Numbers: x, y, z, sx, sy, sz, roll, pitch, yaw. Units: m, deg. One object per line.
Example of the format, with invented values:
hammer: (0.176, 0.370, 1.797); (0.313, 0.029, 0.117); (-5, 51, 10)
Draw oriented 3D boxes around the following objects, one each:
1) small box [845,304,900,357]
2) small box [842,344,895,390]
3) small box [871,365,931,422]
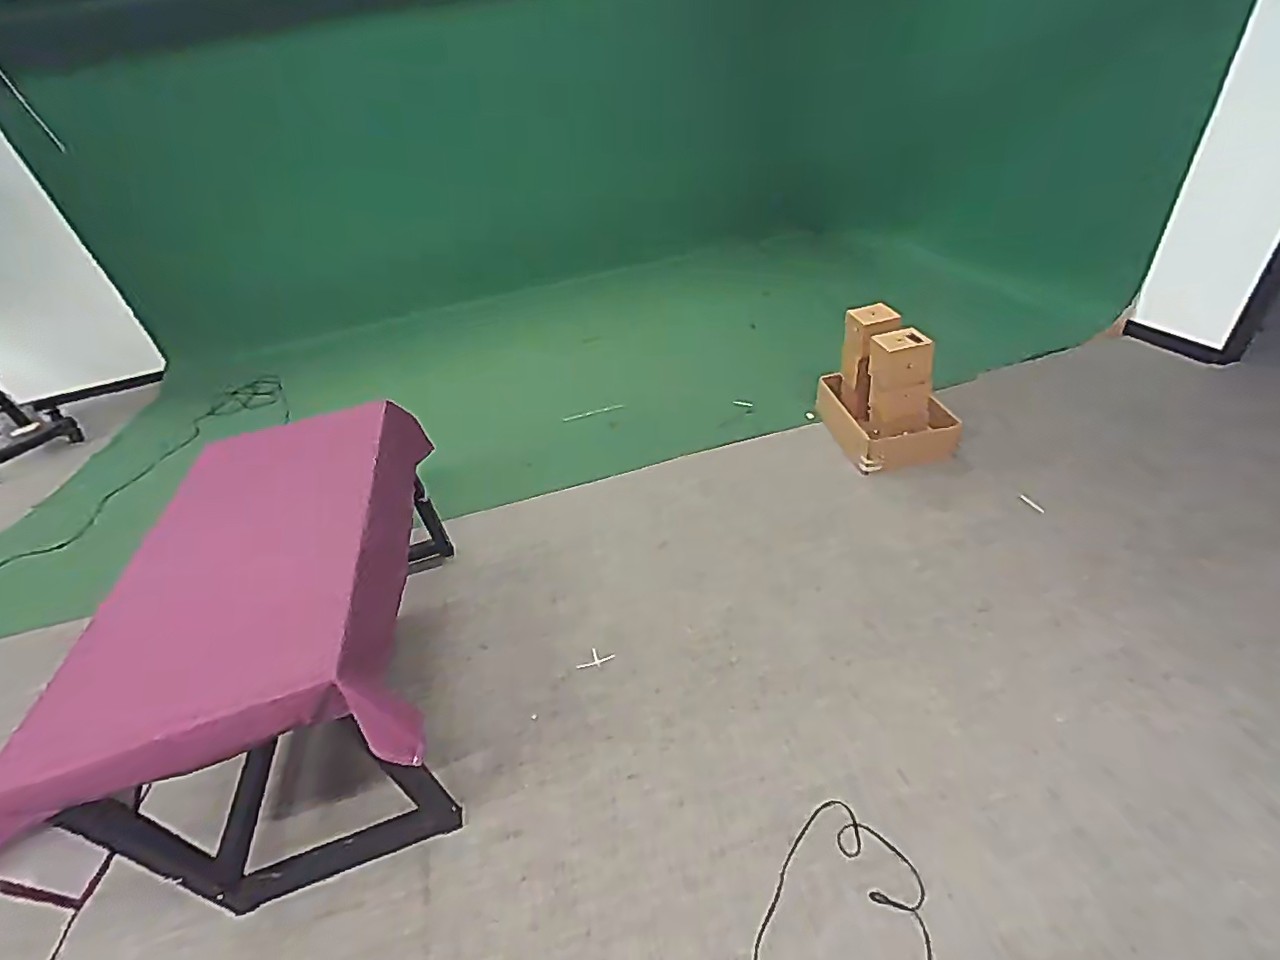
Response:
small box: (1.032, -0.660, 2.413); (0.168, 0.176, 0.179); (-11, 38, 0)
small box: (1.061, -0.541, 2.525); (0.179, 0.176, 0.168); (-12, 38, 1)
small box: (1.090, -0.362, 2.278); (0.179, 0.176, 0.168); (-11, 36, -1)
